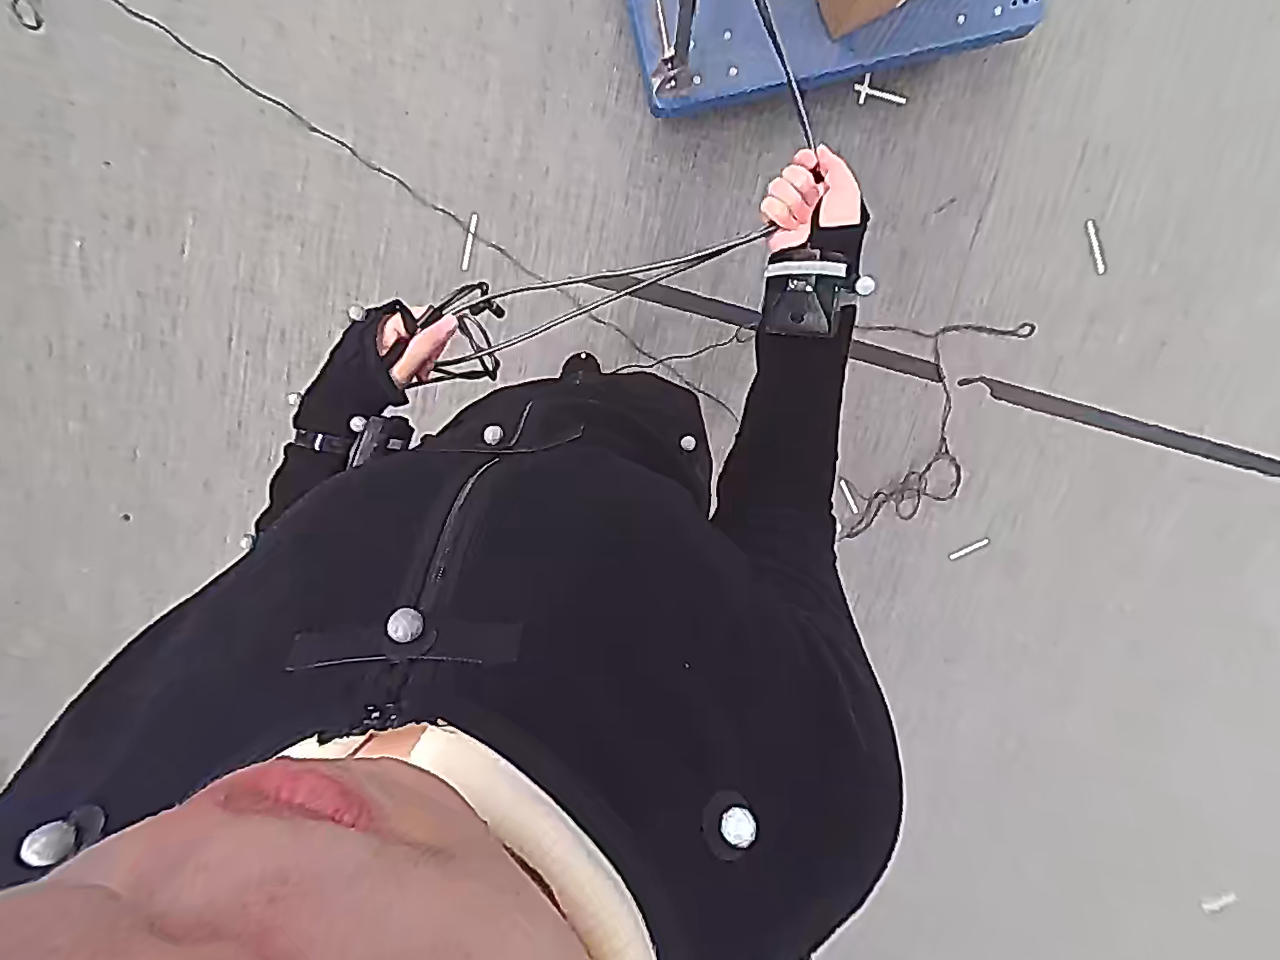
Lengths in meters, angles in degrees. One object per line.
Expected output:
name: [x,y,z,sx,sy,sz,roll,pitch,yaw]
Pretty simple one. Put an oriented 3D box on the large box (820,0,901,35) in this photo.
large box: [0.458,-1.149,0.956,0.320,0.320,0.408,-27,101,4]
